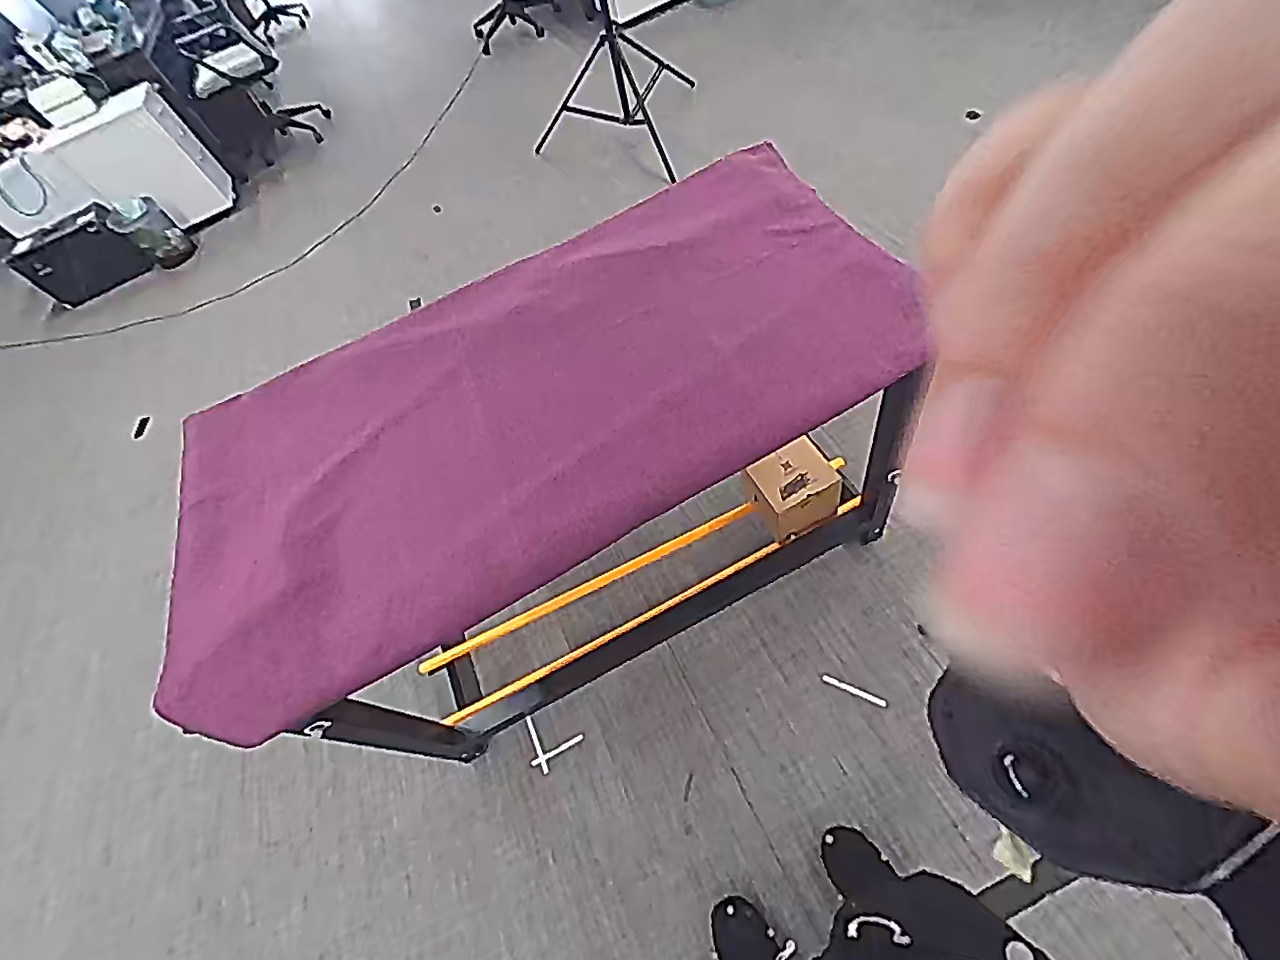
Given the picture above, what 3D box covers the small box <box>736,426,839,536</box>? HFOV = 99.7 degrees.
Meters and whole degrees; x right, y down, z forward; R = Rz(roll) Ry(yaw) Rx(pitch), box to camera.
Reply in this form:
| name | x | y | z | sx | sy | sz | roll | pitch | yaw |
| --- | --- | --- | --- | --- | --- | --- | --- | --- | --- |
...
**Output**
| name | x | y | z | sx | sy | sz | roll | pitch | yaw |
| --- | --- | --- | --- | --- | --- | --- | --- | --- | --- |
| small box | 0.349 | 0.012 | 1.284 | 0.168 | 0.176 | 0.179 | -28 | 55 | -2 |
